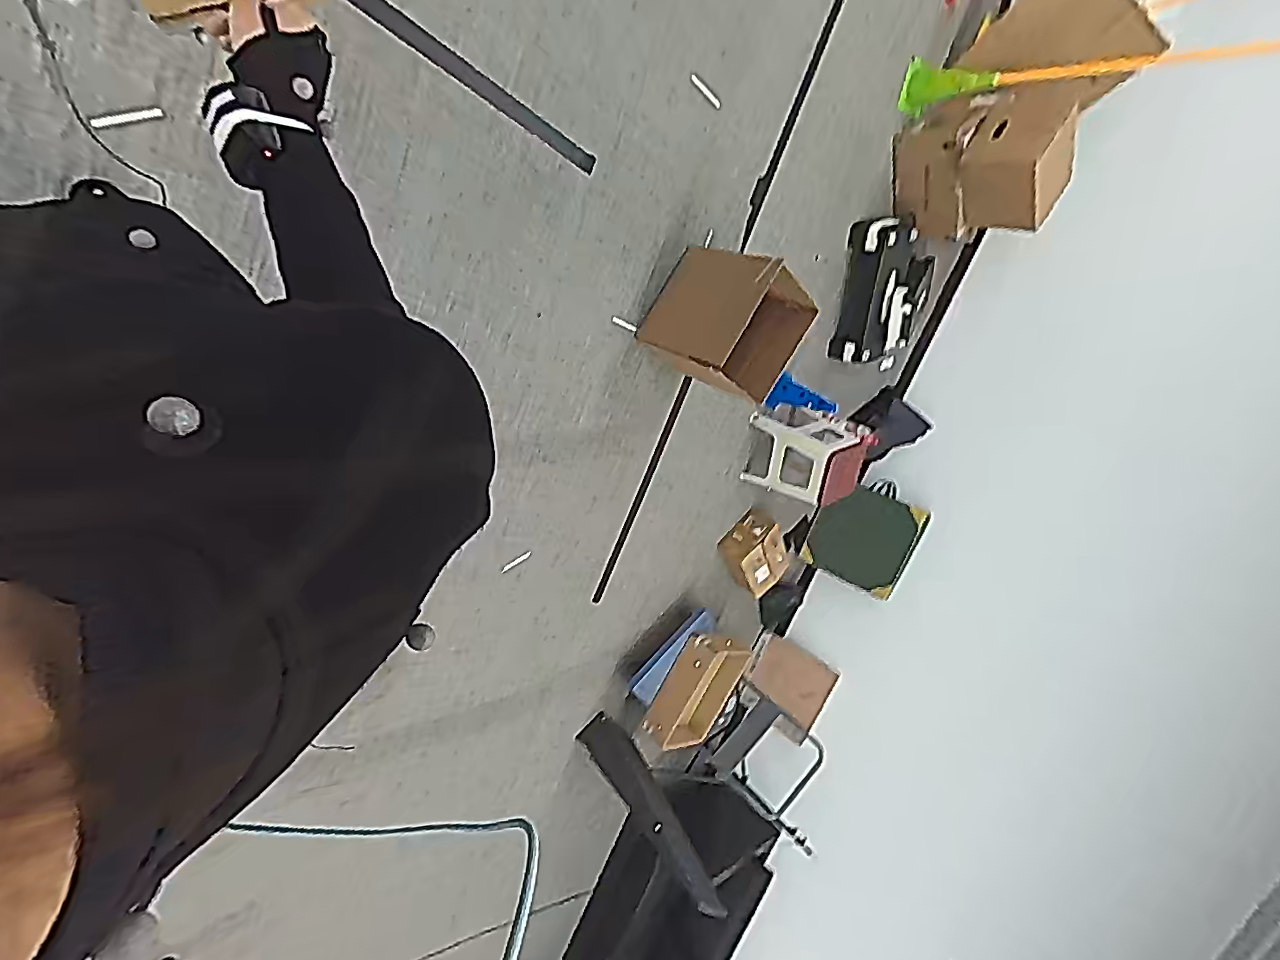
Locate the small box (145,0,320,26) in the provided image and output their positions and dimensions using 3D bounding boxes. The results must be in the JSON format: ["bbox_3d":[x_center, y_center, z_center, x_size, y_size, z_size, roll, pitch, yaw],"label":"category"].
[{"bbox_3d":[-0.409,-0.542,0.495,0.168,0.176,0.179,-29,133,-19],"label":"small box"}]
